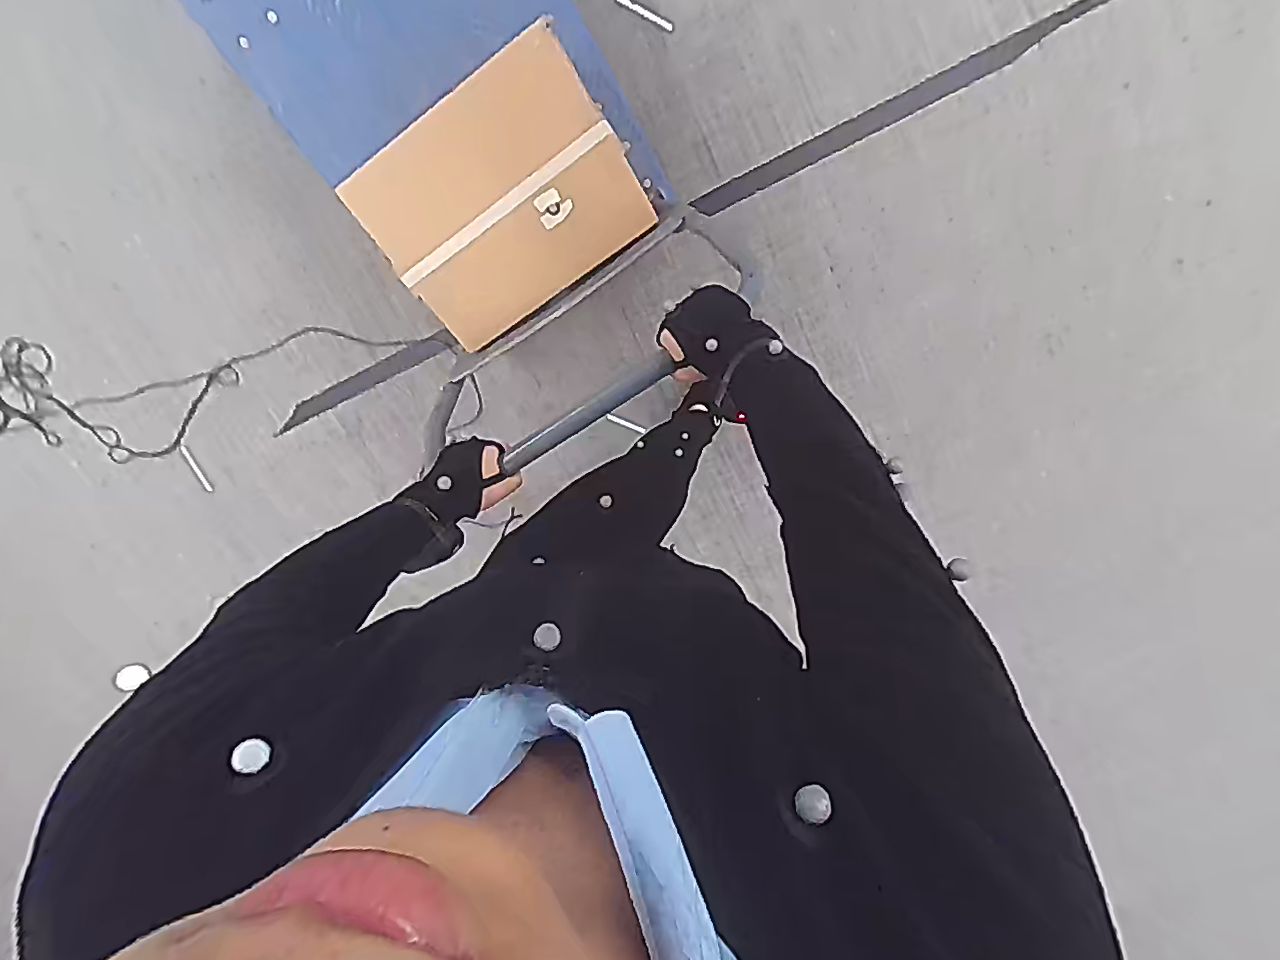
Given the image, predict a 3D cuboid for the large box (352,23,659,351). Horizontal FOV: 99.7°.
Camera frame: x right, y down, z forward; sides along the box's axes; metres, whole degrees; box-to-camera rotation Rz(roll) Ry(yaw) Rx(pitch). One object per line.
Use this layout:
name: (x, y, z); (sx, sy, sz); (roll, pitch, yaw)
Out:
large box: (-0.228, -0.510, 1.007); (0.408, 0.320, 0.320); (-33, 117, 10)
